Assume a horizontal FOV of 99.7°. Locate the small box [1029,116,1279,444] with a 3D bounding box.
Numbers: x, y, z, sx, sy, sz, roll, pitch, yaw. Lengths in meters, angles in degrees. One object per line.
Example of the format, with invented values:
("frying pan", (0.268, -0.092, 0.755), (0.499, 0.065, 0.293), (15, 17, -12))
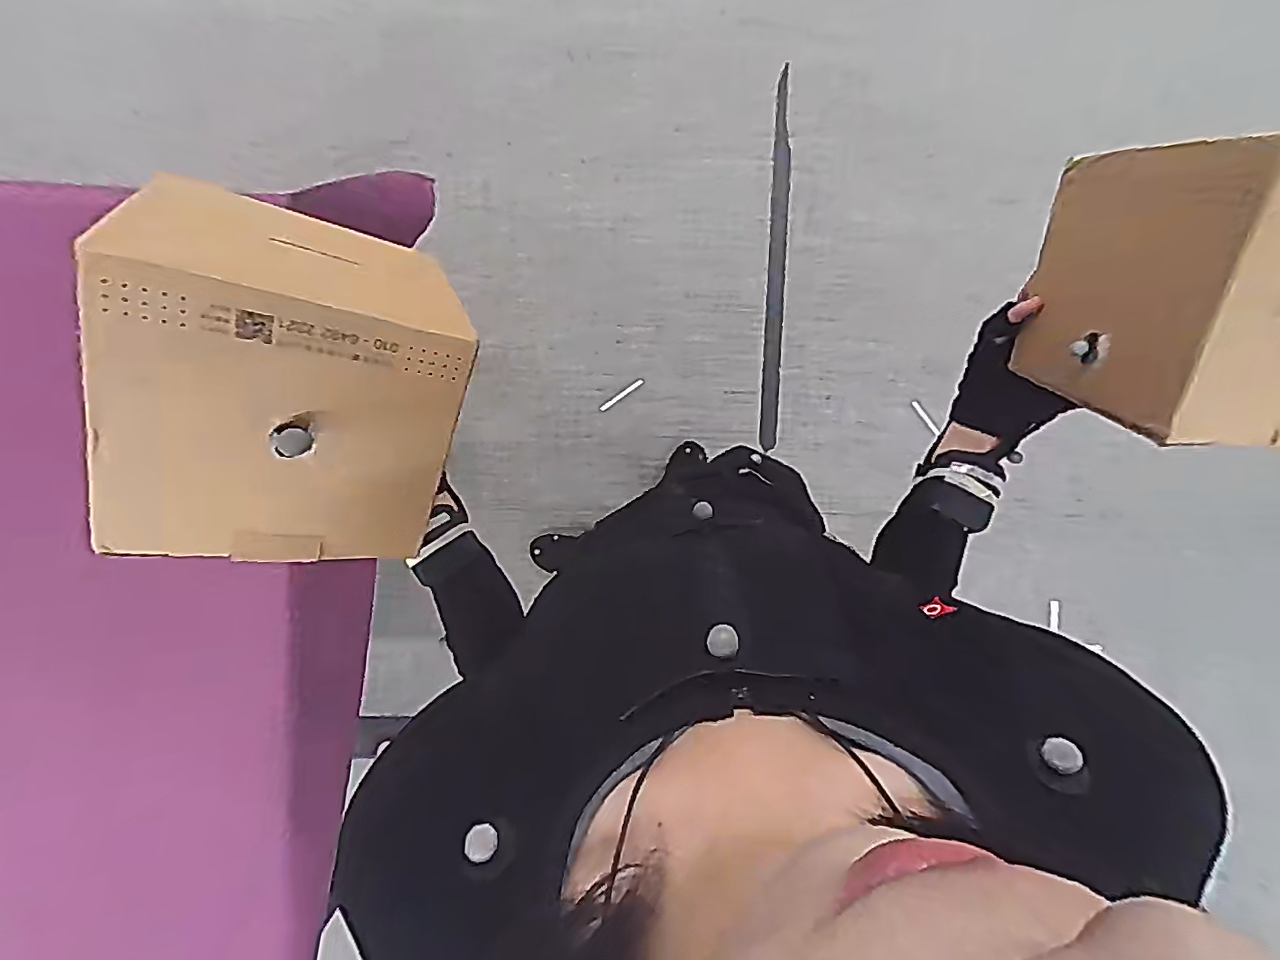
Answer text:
("small box", (0.405, -0.132, 0.347), (0.168, 0.179, 0.176), (1, 117, 4))
